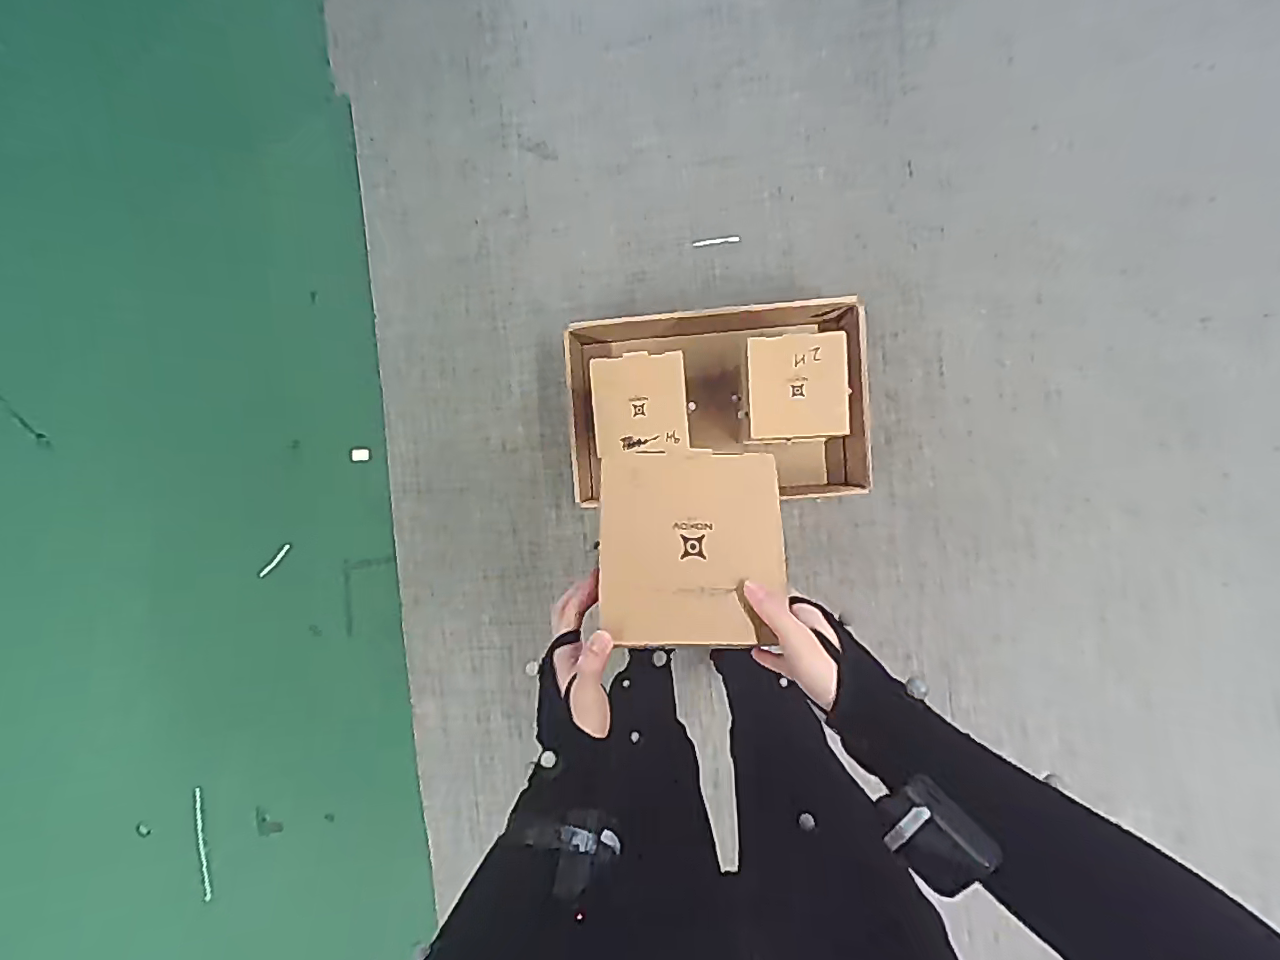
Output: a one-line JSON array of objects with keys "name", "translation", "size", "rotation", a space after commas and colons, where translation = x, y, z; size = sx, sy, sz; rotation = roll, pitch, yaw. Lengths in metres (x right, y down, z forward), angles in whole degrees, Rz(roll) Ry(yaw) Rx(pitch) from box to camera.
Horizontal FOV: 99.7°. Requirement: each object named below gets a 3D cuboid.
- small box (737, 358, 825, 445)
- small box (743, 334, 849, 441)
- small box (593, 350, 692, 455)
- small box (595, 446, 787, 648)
[{"name": "small box", "translation": [0.297, -0.166, 1.158], "size": [0.168, 0.176, 0.179], "rotation": [-2, 92, 7]}, {"name": "small box", "translation": [0.279, -0.161, 0.994], "size": [0.168, 0.176, 0.179], "rotation": [-2, 92, 7]}, {"name": "small box", "translation": [0.010, -0.136, 1.021], "size": [0.168, 0.176, 0.179], "rotation": [-4, 92, 6]}, {"name": "small box", "translation": [0.040, 0.079, 0.558], "size": [0.168, 0.176, 0.179], "rotation": [2, 72, -4]}]
